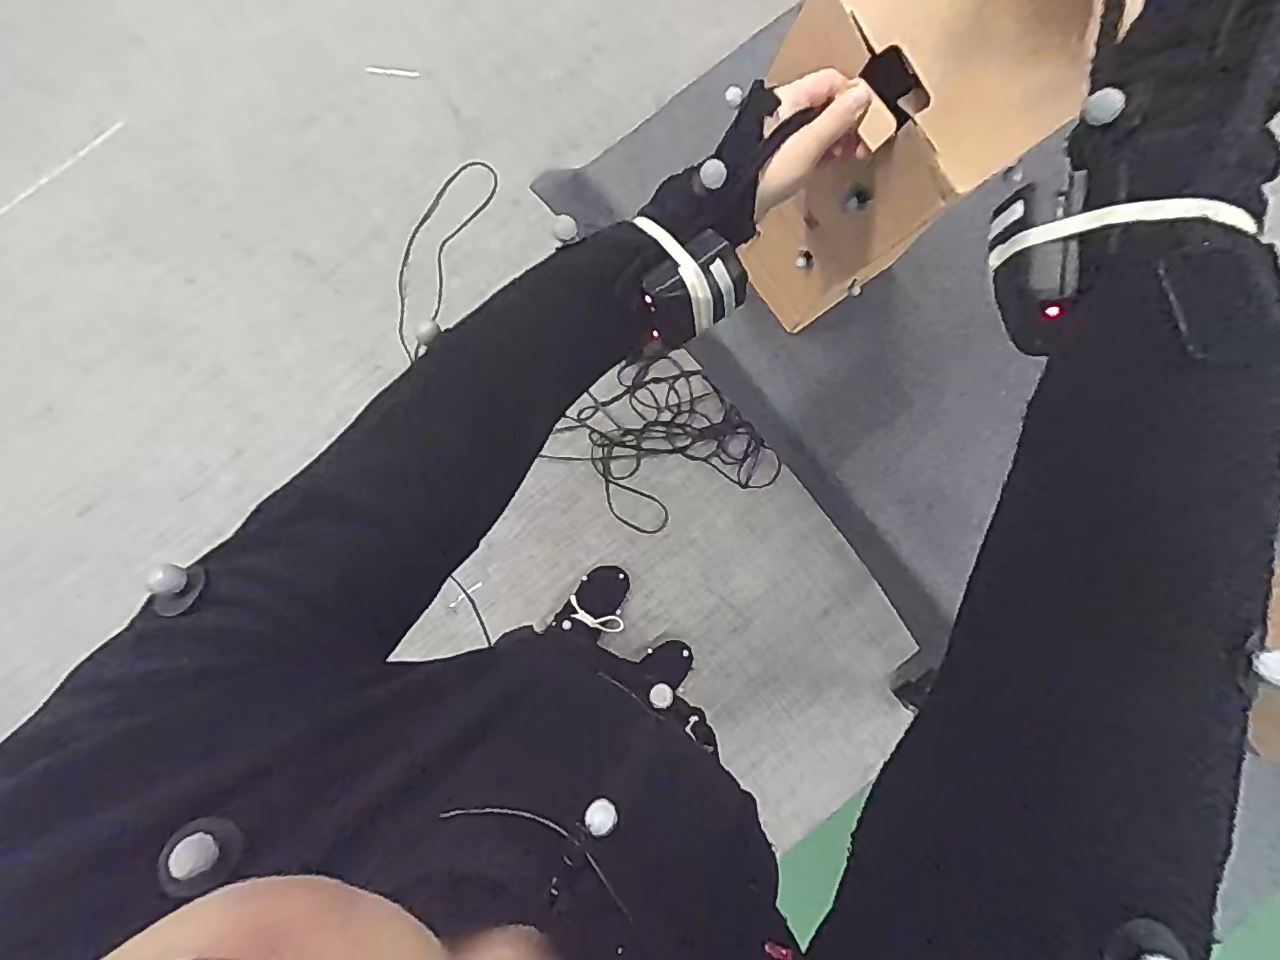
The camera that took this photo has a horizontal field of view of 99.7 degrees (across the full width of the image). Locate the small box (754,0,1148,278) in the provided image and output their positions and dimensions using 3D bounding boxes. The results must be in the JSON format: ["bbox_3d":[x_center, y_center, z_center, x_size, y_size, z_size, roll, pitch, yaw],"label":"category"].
[{"bbox_3d":[0.211,-0.291,0.420,0.179,0.176,0.168,-36,96,-8],"label":"small box"}]

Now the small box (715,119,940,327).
[{"bbox_3d":[0.204,-0.303,0.597,0.168,0.176,0.179,-36,89,-4],"label":"small box"}]
